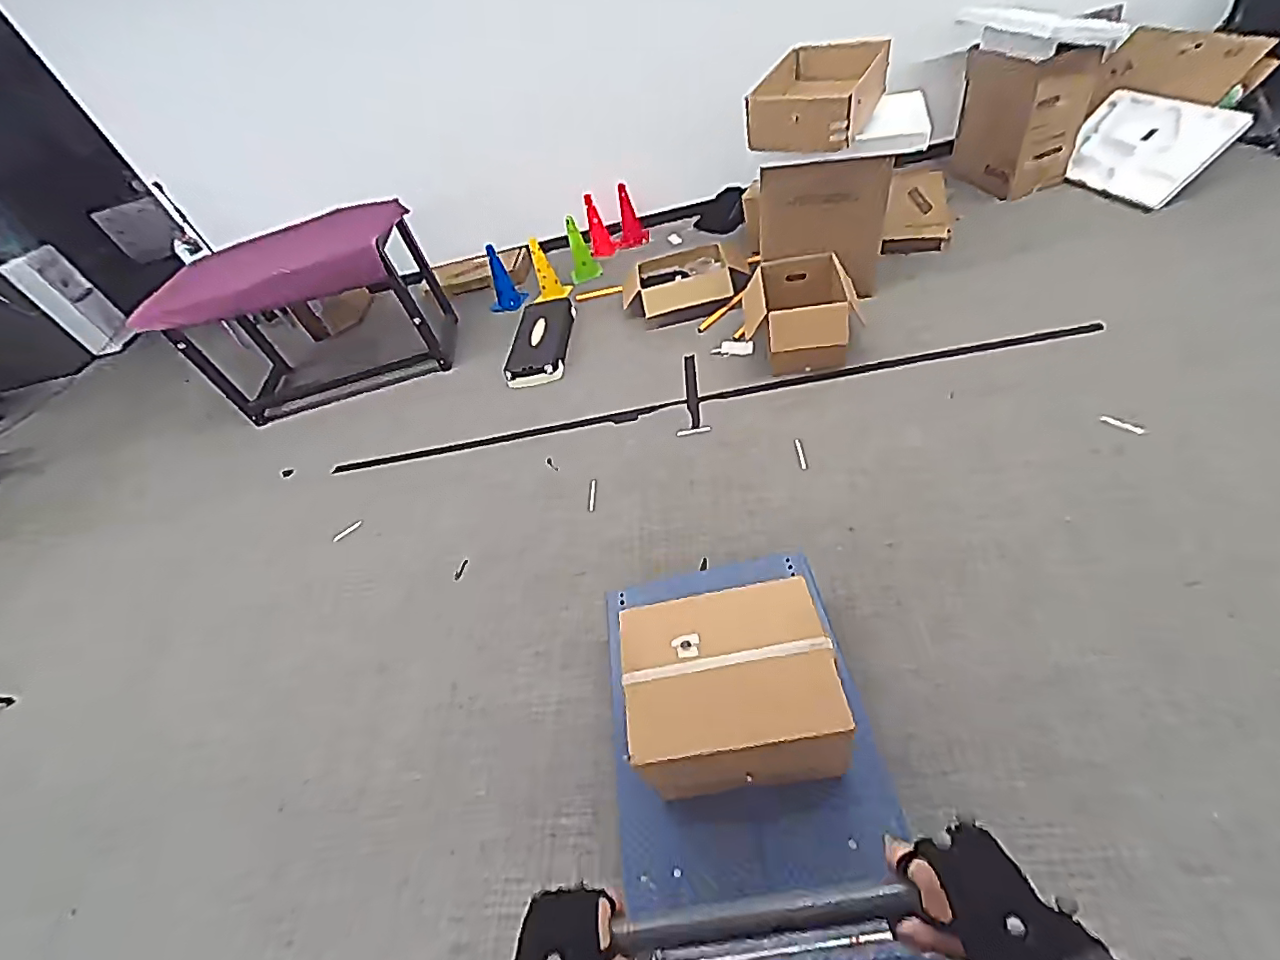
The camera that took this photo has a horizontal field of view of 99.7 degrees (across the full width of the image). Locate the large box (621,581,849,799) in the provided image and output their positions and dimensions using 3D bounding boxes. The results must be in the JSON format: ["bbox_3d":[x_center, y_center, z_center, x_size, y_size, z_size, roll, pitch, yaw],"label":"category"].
[{"bbox_3d":[0.199,0.466,1.180,0.408,0.320,0.320,-13,46,7],"label":"large box"}]
